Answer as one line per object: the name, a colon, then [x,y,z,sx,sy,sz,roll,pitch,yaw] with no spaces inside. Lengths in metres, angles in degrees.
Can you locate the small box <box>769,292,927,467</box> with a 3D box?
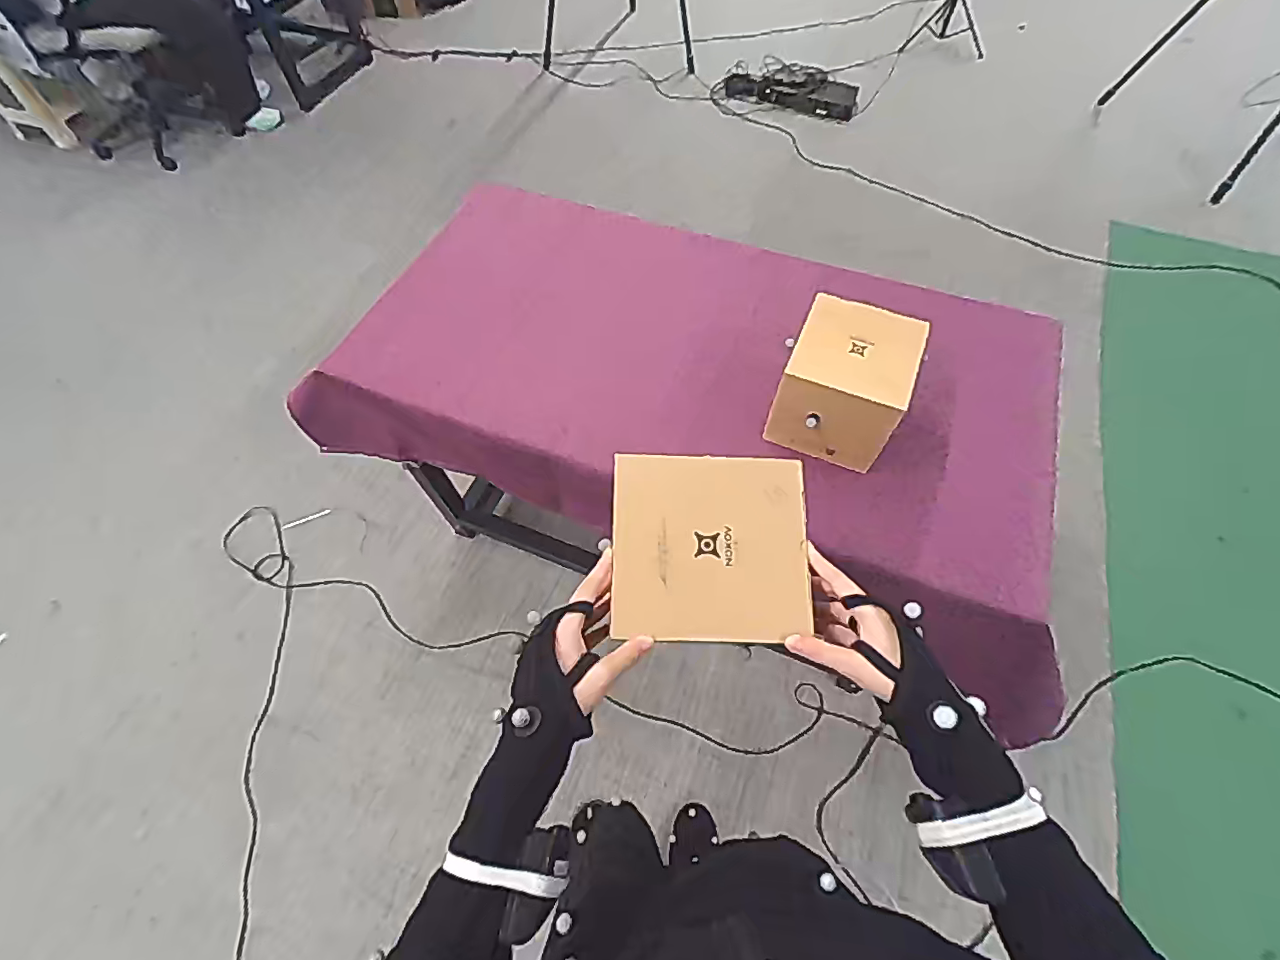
small box: [0.307,-0.147,0.826,0.168,0.176,0.179,21,62,13]
